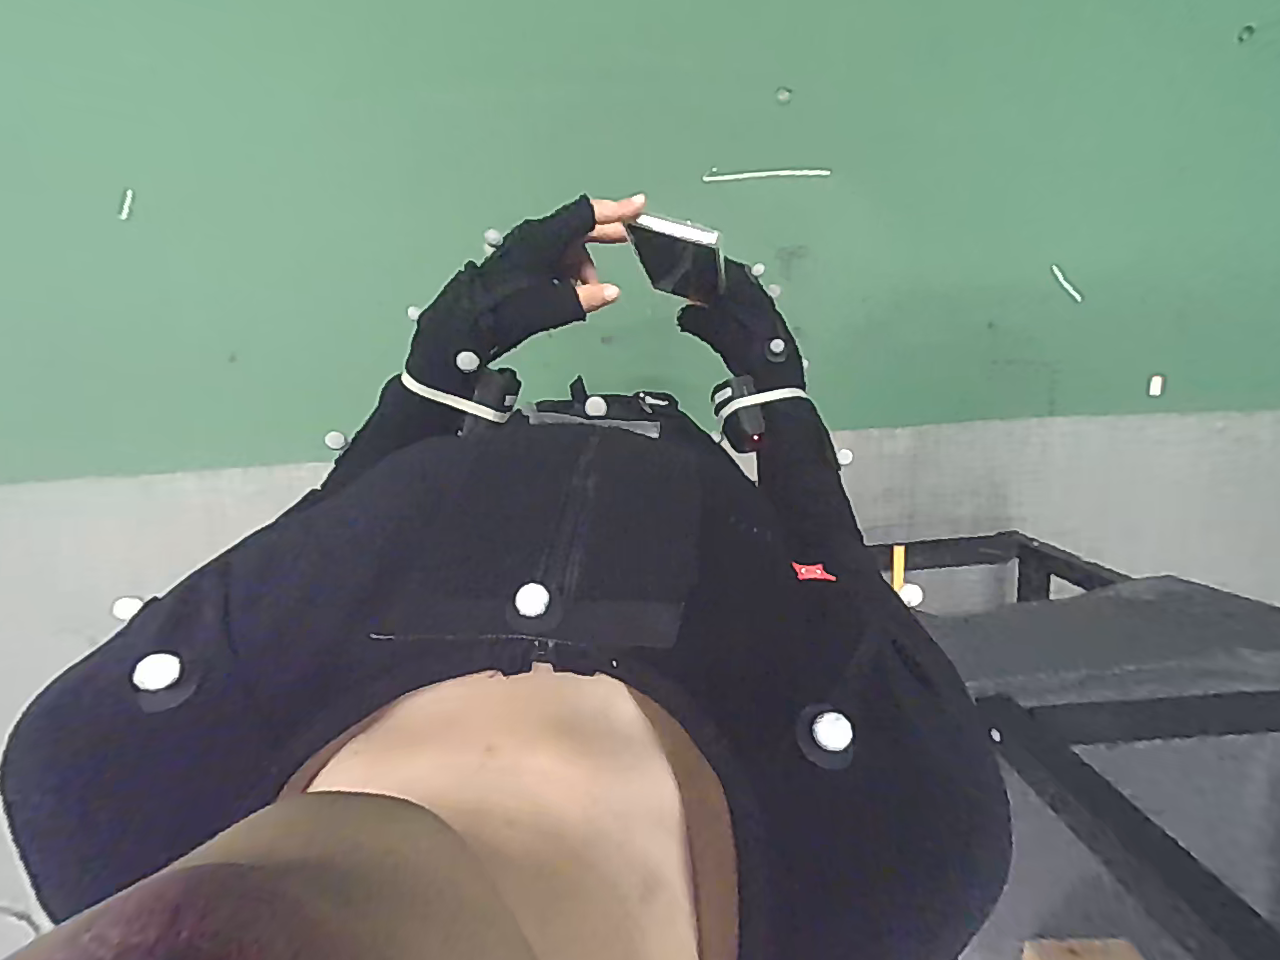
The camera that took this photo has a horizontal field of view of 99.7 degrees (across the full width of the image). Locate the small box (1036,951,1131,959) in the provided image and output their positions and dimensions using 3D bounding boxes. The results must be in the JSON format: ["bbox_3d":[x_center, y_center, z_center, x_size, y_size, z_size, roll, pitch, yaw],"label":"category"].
[{"bbox_3d":[0.705,0.840,0.791,0.168,0.176,0.179,-1,100,1],"label":"small box"}]
